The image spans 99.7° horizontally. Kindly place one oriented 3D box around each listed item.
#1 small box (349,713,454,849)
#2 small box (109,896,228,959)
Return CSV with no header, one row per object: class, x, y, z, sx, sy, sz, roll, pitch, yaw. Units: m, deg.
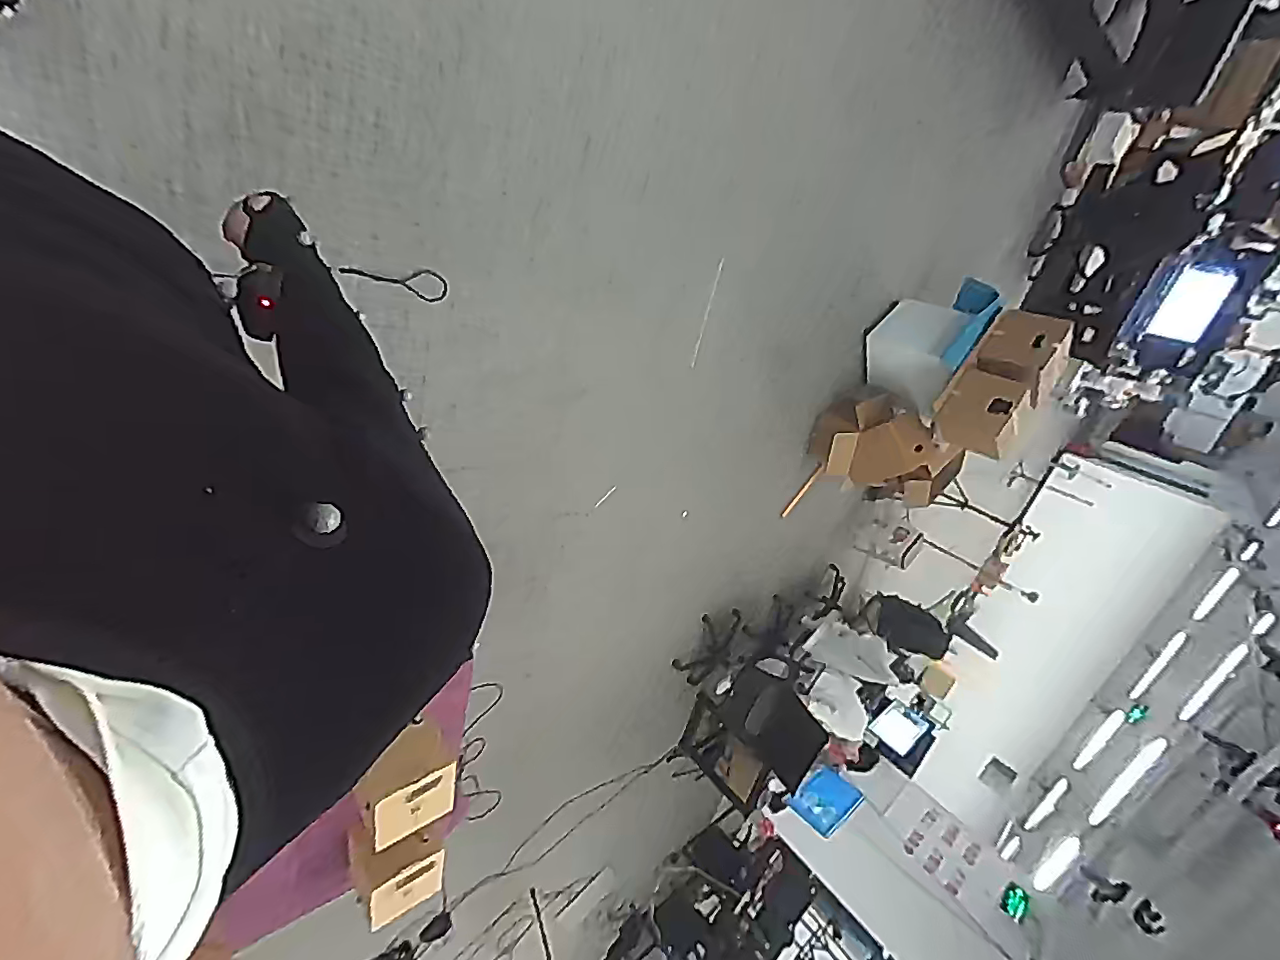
small box,-0.527,0.646,1.189,0.168,0.176,0.179,-12,127,-41
small box,-0.898,0.964,1.039,0.168,0.176,0.179,-7,120,-43
